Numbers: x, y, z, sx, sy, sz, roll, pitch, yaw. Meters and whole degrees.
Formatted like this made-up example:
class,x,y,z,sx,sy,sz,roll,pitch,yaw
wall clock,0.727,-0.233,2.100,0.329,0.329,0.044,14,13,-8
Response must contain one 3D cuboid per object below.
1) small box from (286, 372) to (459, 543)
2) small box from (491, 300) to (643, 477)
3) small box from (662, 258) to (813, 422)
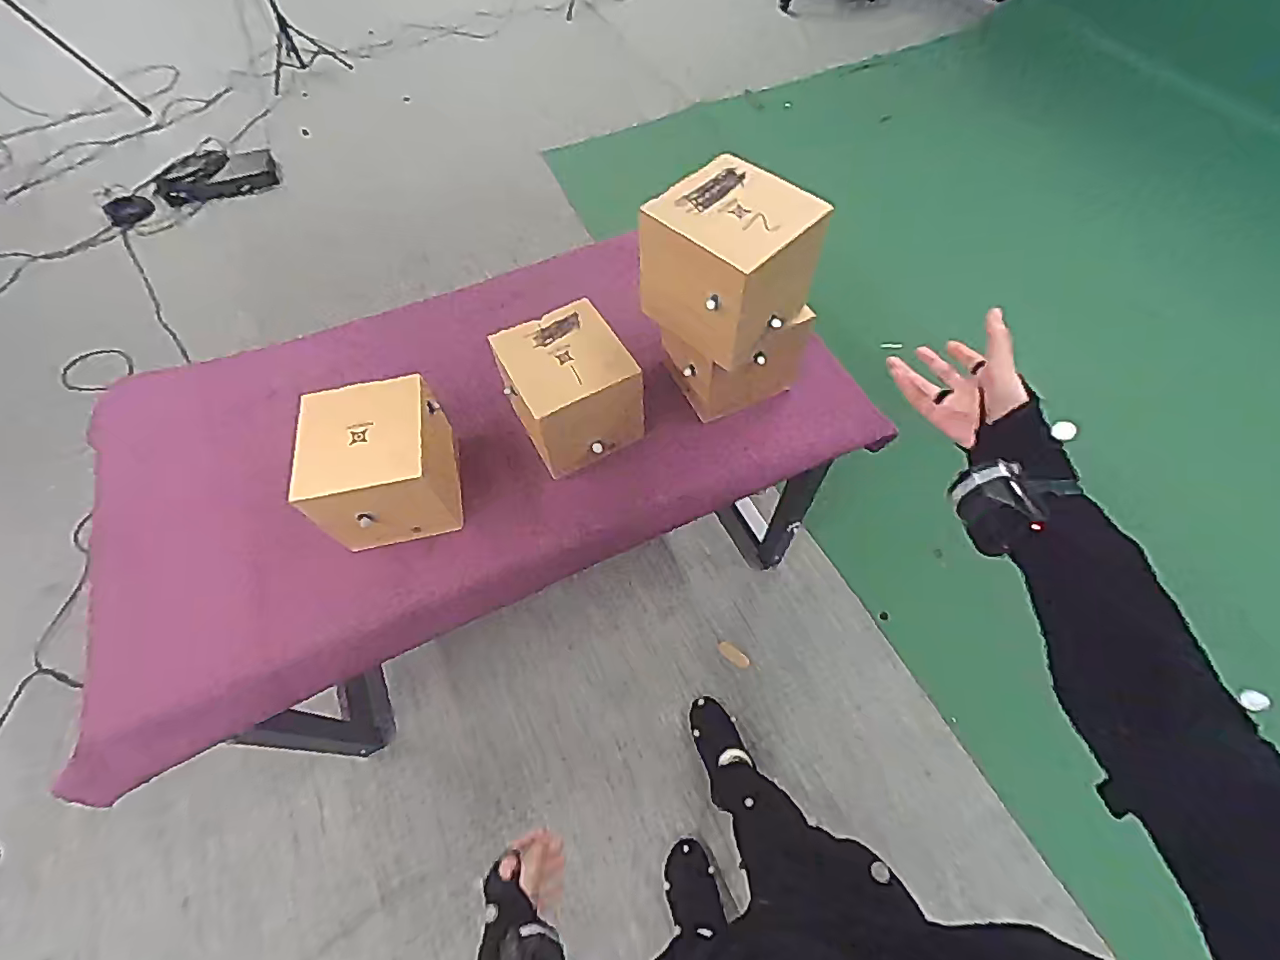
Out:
class,x,y,z,sx,sy,sz,roll,pitch,yaw
small box,-0.368,-0.023,0.776,0.168,0.176,0.179,-11,59,-5
small box,-0.107,-0.137,0.836,0.168,0.176,0.179,-26,63,-13
small box,0.148,-0.221,0.879,0.179,0.176,0.168,-21,61,-10
